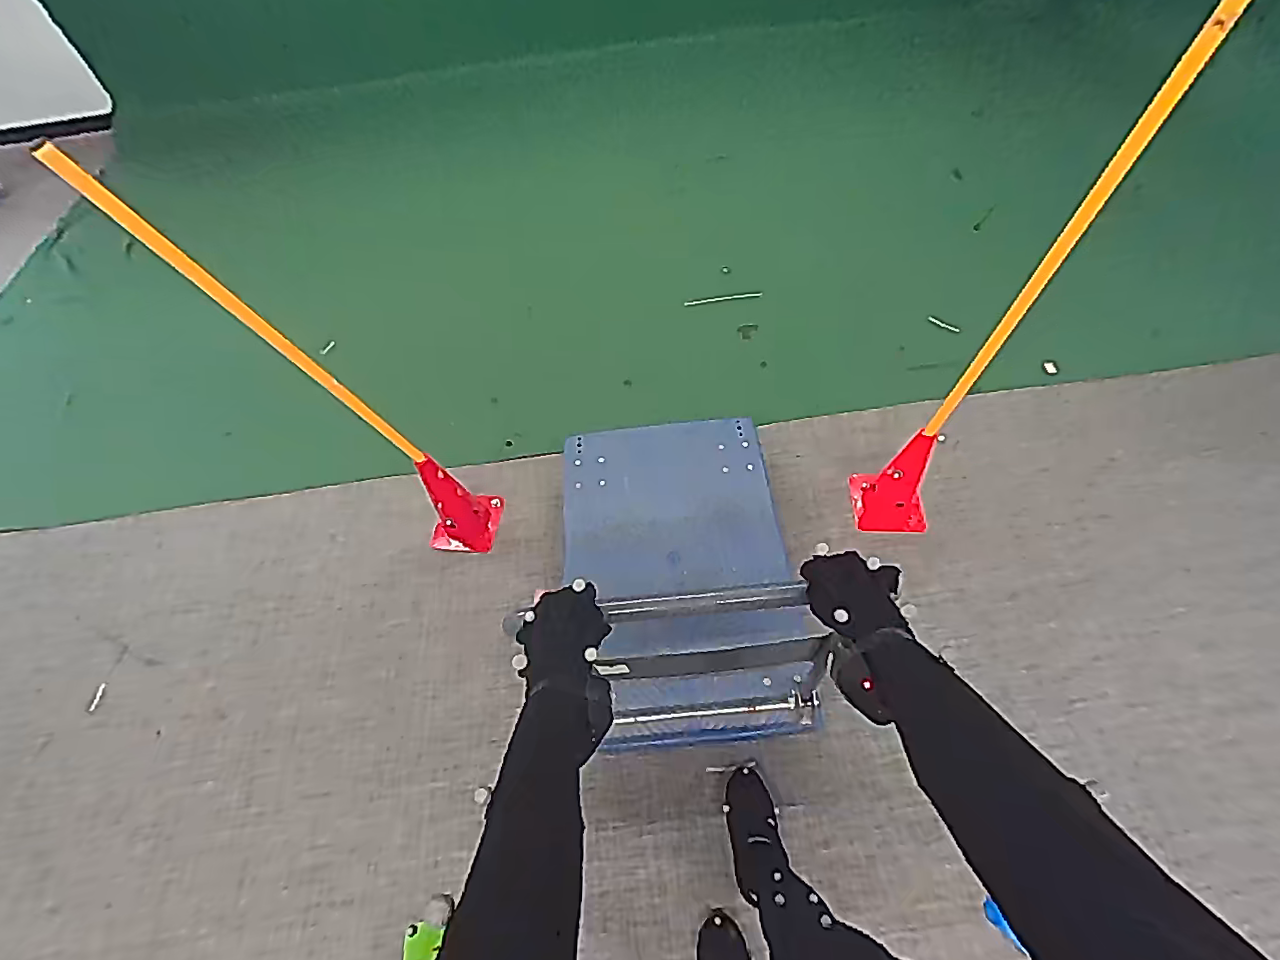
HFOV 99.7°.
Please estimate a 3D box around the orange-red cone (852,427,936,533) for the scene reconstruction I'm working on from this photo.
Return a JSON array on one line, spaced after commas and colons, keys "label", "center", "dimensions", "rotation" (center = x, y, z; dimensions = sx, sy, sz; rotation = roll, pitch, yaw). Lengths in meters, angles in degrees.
[{"label": "orange-red cone", "center": [0.728, -0.021, 1.477], "dimensions": [0.198, 0.360, 0.199], "rotation": [1, 59, 7]}]
